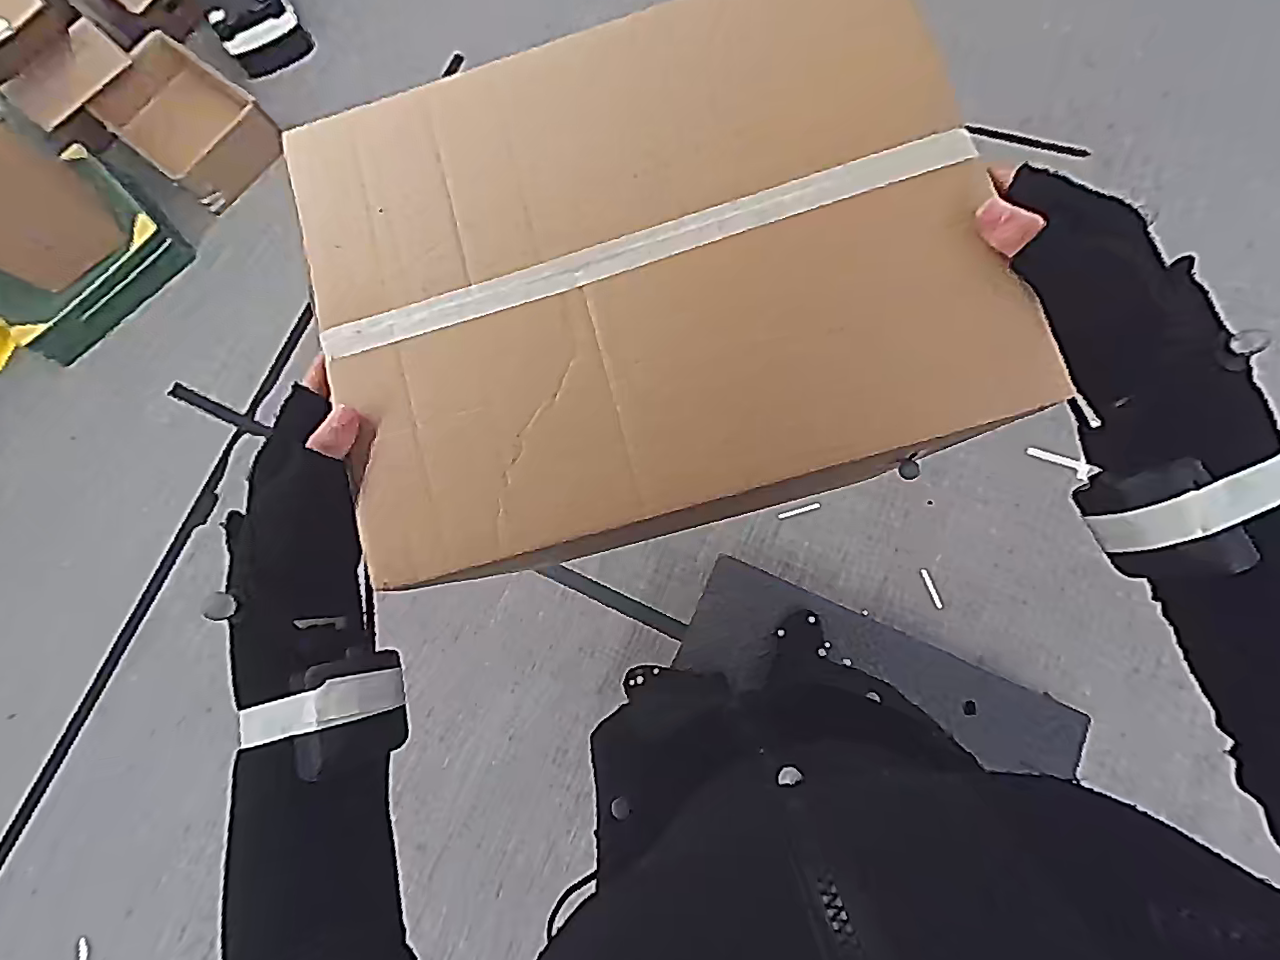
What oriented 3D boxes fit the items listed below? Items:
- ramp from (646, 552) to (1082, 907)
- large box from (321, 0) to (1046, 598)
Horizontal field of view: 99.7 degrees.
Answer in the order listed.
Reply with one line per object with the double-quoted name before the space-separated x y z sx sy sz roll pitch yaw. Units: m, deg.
"ramp" 0.558 0.592 1.321 0.991 0.206 0.509 20 79 11
"large box" 0.023 -0.112 0.489 0.408 0.320 0.320 -16 81 4
